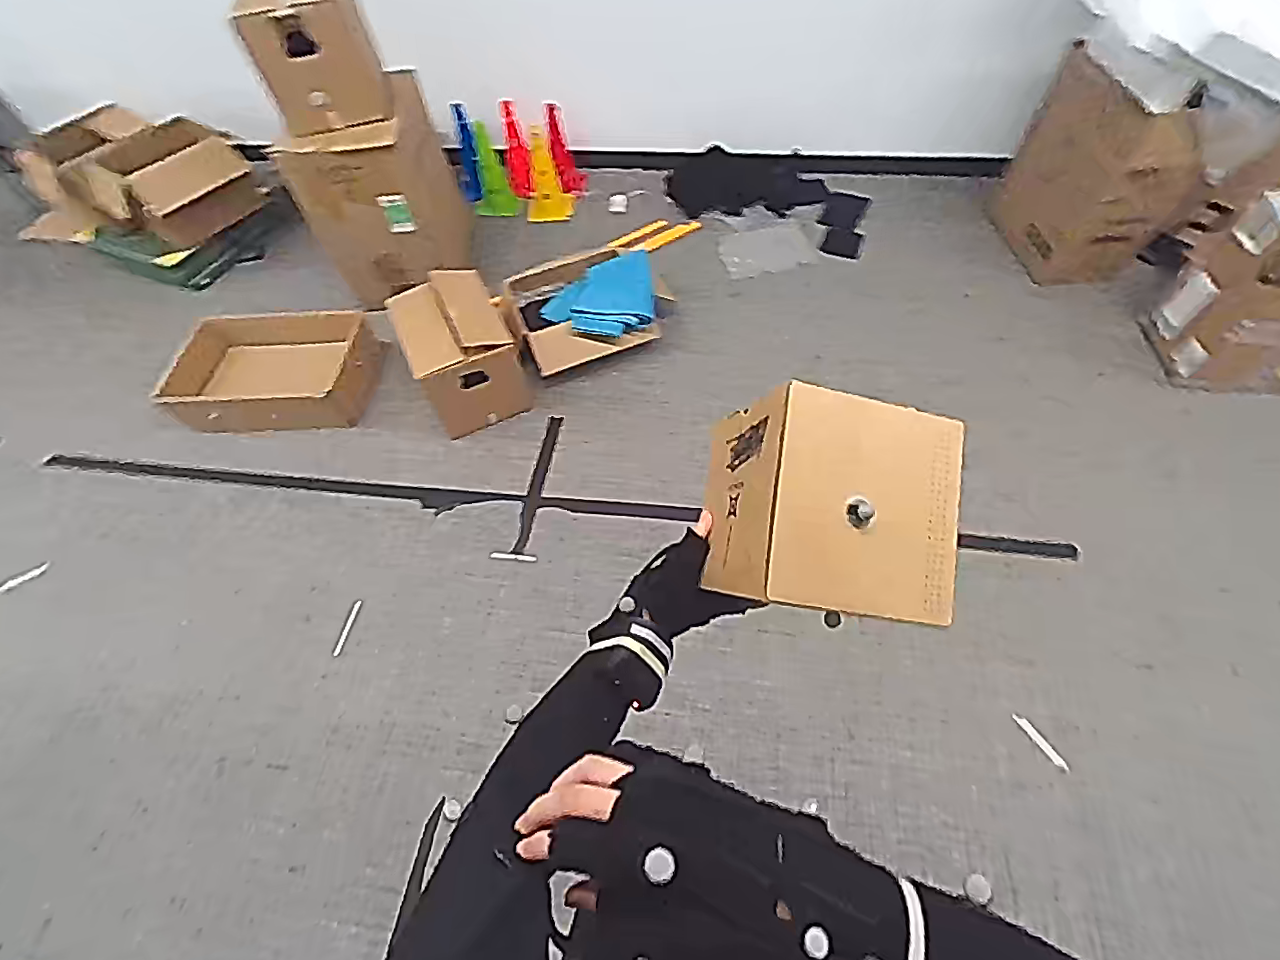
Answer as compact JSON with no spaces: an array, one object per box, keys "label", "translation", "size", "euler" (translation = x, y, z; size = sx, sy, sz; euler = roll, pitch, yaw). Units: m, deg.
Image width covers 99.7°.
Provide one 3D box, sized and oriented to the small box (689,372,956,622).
[{"label":"small box","translation":[0.160,0.024,0.502],"size":[0.176,0.168,0.179],"euler":[11,80,-11]}]
